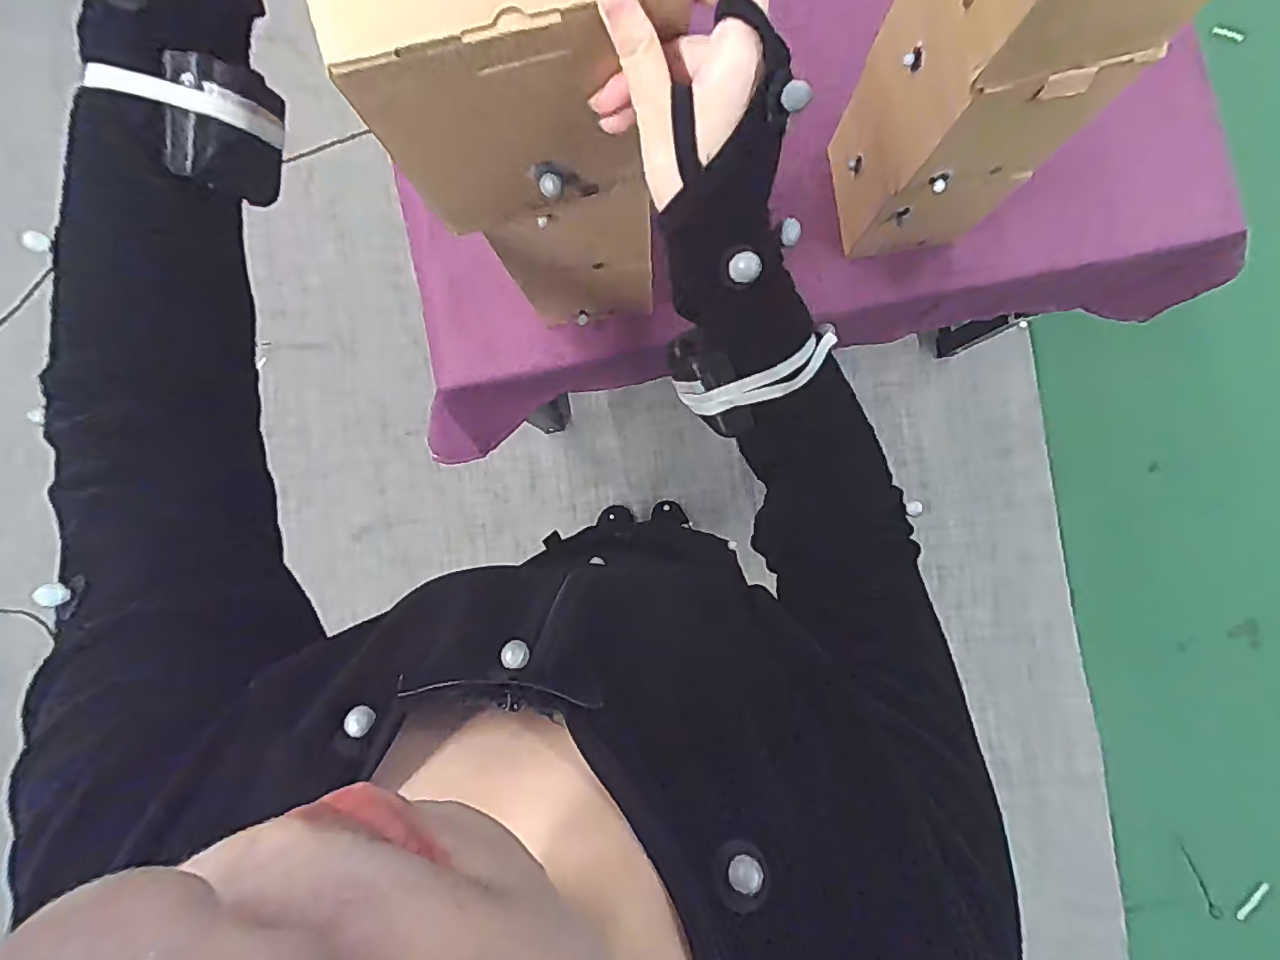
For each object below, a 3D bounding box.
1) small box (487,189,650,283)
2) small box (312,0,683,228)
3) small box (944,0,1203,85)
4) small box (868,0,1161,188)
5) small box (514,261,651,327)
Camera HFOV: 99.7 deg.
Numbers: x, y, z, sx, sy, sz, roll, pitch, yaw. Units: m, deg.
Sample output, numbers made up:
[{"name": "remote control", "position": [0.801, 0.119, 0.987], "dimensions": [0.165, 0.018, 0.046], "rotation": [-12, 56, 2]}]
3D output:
[{"name": "small box", "position": [-0.080, -0.331, 0.564], "dimensions": [0.168, 0.176, 0.179], "rotation": [-6, 87, 3]}, {"name": "small box", "position": [-0.078, -0.284, 0.319], "dimensions": [0.168, 0.176, 0.179], "rotation": [-13, 91, 1]}, {"name": "small box", "position": [0.350, -0.439, 0.393], "dimensions": [0.179, 0.176, 0.168], "rotation": [-13, 87, 2]}, {"name": "small box", "position": [0.359, -0.431, 0.555], "dimensions": [0.168, 0.176, 0.179], "rotation": [-11, 86, 1]}, {"name": "small box", "position": [-0.075, -0.324, 0.729], "dimensions": [0.168, 0.176, 0.179], "rotation": [-6, 88, 2]}]
